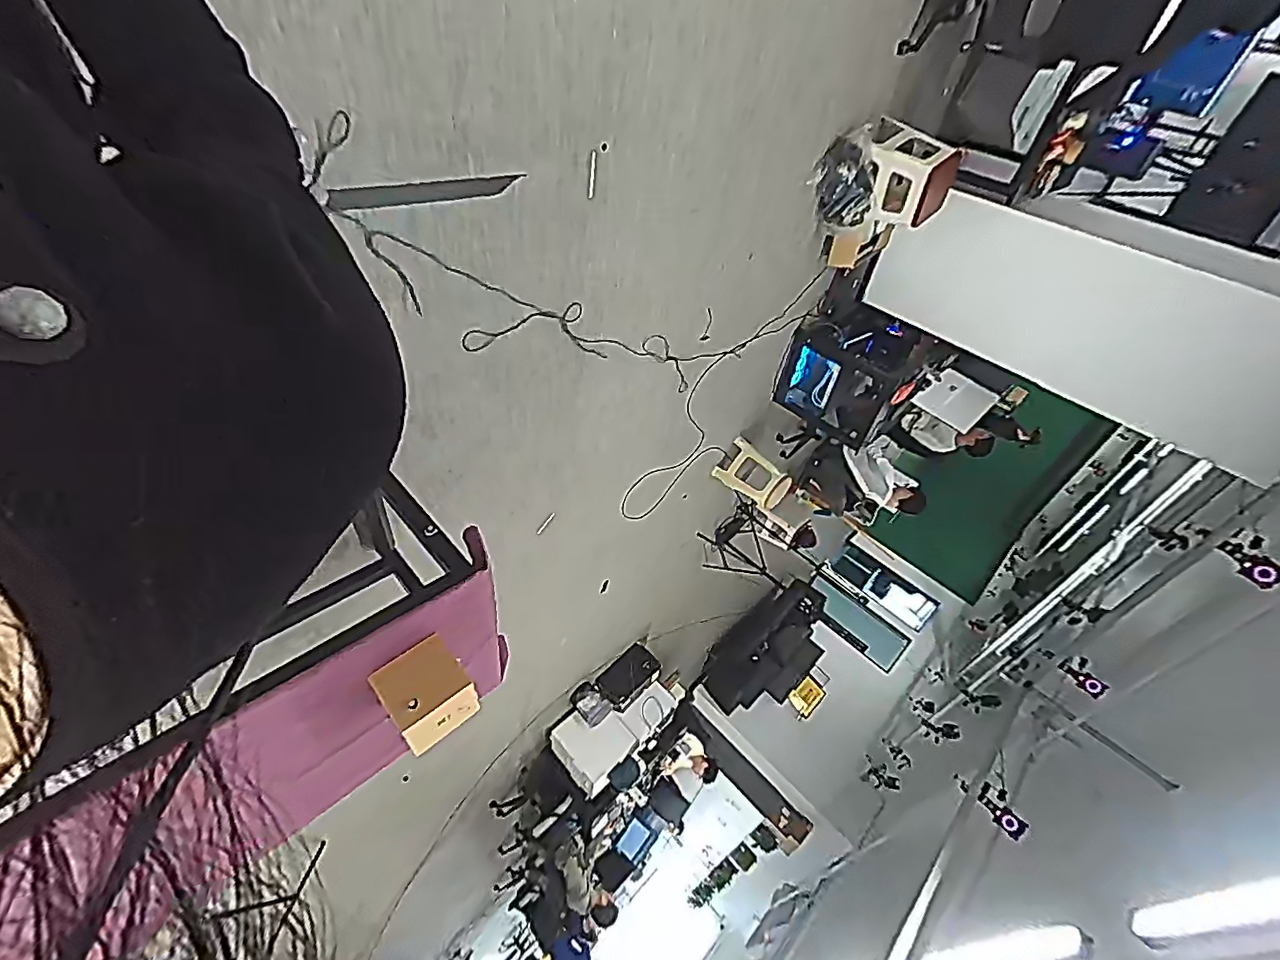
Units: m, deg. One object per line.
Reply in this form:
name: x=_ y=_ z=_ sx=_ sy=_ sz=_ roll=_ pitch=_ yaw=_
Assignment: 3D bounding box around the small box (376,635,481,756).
small box: x=-0.509 y=0.511 z=1.295 sx=0.179 sy=0.176 sz=0.168 roll=-32 pitch=149 yaw=-33
